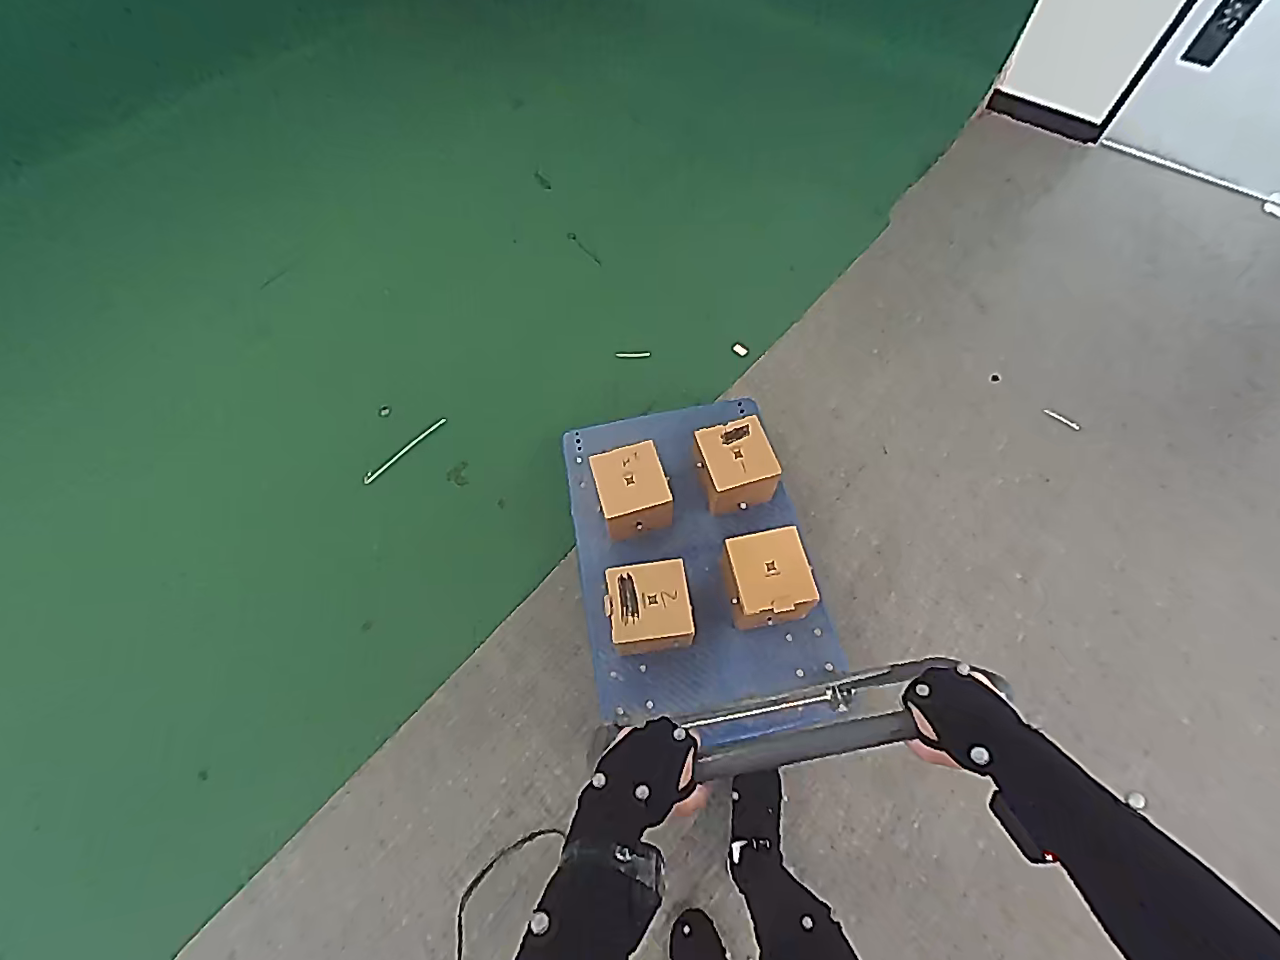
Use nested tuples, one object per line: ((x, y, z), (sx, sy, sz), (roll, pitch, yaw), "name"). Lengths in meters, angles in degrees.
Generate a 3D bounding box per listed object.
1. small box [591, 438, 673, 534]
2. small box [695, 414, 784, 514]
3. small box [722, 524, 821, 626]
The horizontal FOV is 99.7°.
((-0.017, 0.023, 1.361), (0.168, 0.176, 0.179), (-15, 64, -6), "small box")
((0.245, -0.038, 1.381), (0.168, 0.176, 0.179), (-15, 65, -4), "small box")
((0.293, 0.224, 1.252), (0.168, 0.176, 0.179), (-11, 65, -2), "small box")
